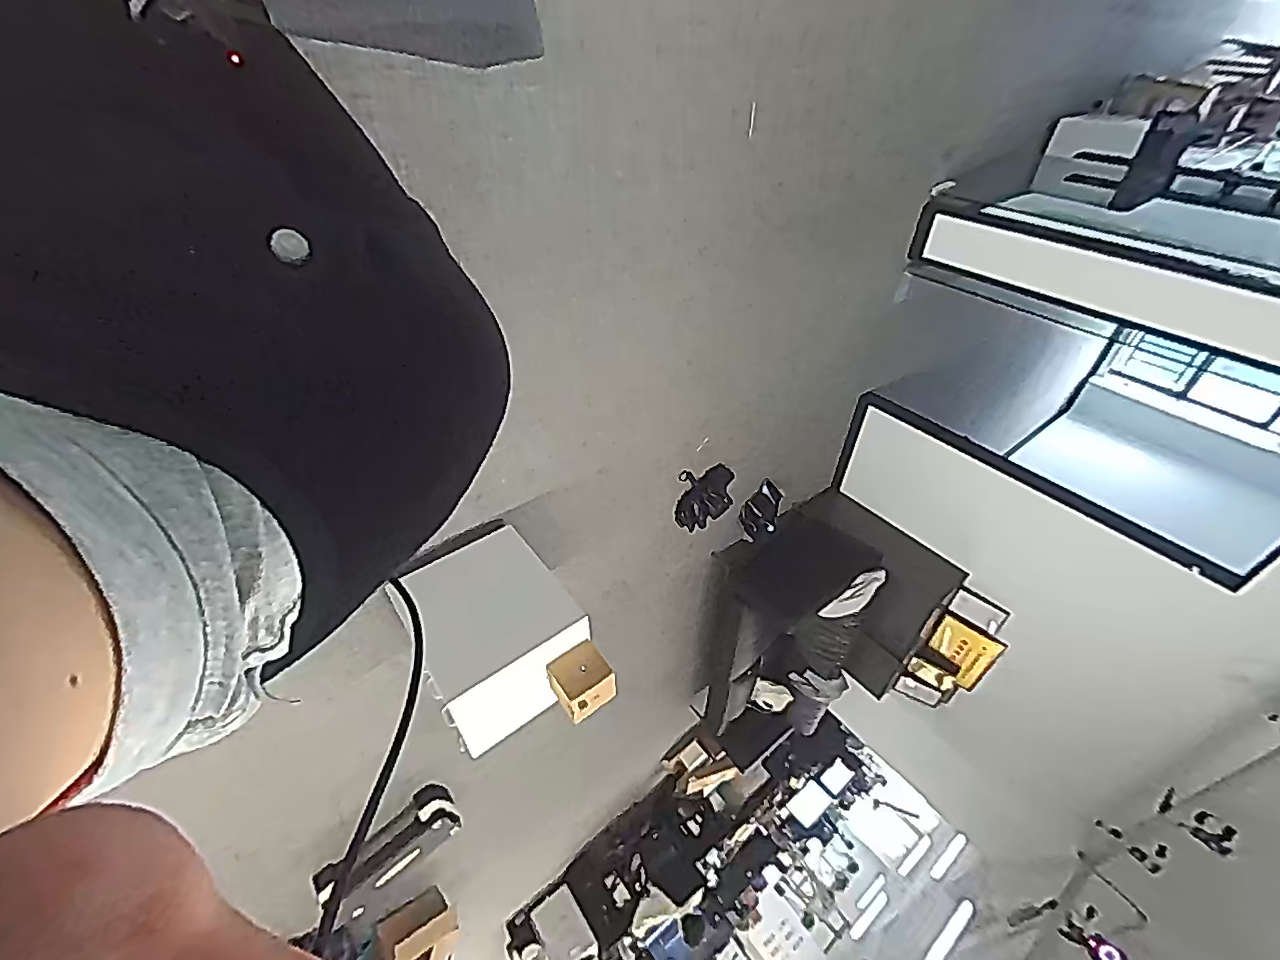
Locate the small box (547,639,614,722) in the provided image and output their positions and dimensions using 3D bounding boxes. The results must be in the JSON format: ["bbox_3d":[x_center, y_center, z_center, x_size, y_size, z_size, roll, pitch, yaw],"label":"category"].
[{"bbox_3d":[-0.211,0.695,1.883,0.179,0.176,0.168,-28,140,-27],"label":"small box"}]
